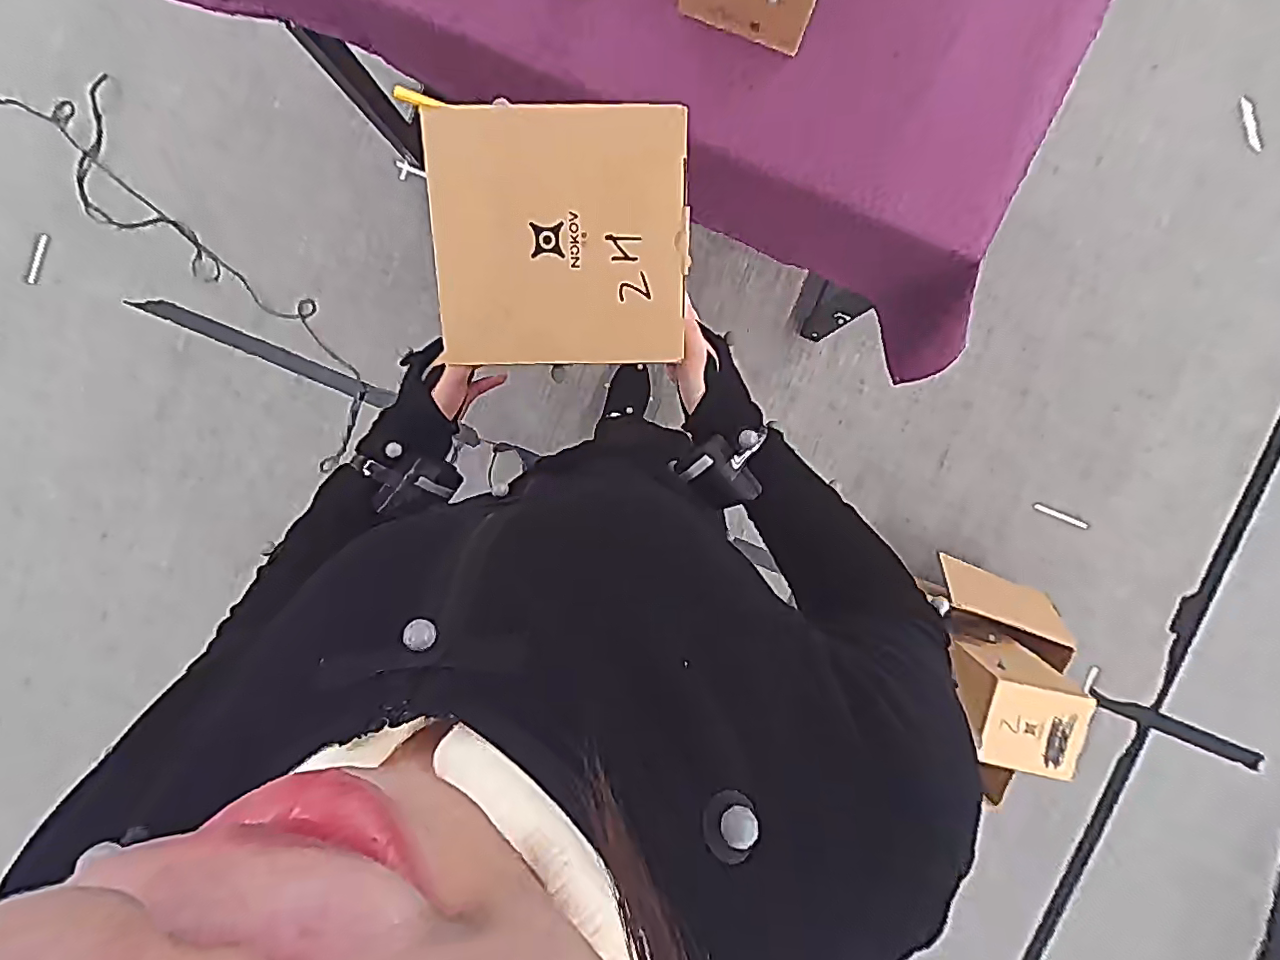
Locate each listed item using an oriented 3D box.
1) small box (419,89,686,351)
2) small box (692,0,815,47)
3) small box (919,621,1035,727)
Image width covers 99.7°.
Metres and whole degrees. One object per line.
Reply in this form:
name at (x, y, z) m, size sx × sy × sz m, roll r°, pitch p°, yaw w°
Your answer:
small box at (-0.058, -0.193, 0.446) m, size 0.179 × 0.176 × 0.168 m, roll -1°, pitch 106°, yaw -2°
small box at (0.153, -0.657, 0.617) m, size 0.168 × 0.176 × 0.179 m, roll 22°, pitch 94°, yaw -1°
small box at (0.761, 0.435, 1.239) m, size 0.168 × 0.176 × 0.179 m, roll 1°, pitch 98°, yaw 5°
